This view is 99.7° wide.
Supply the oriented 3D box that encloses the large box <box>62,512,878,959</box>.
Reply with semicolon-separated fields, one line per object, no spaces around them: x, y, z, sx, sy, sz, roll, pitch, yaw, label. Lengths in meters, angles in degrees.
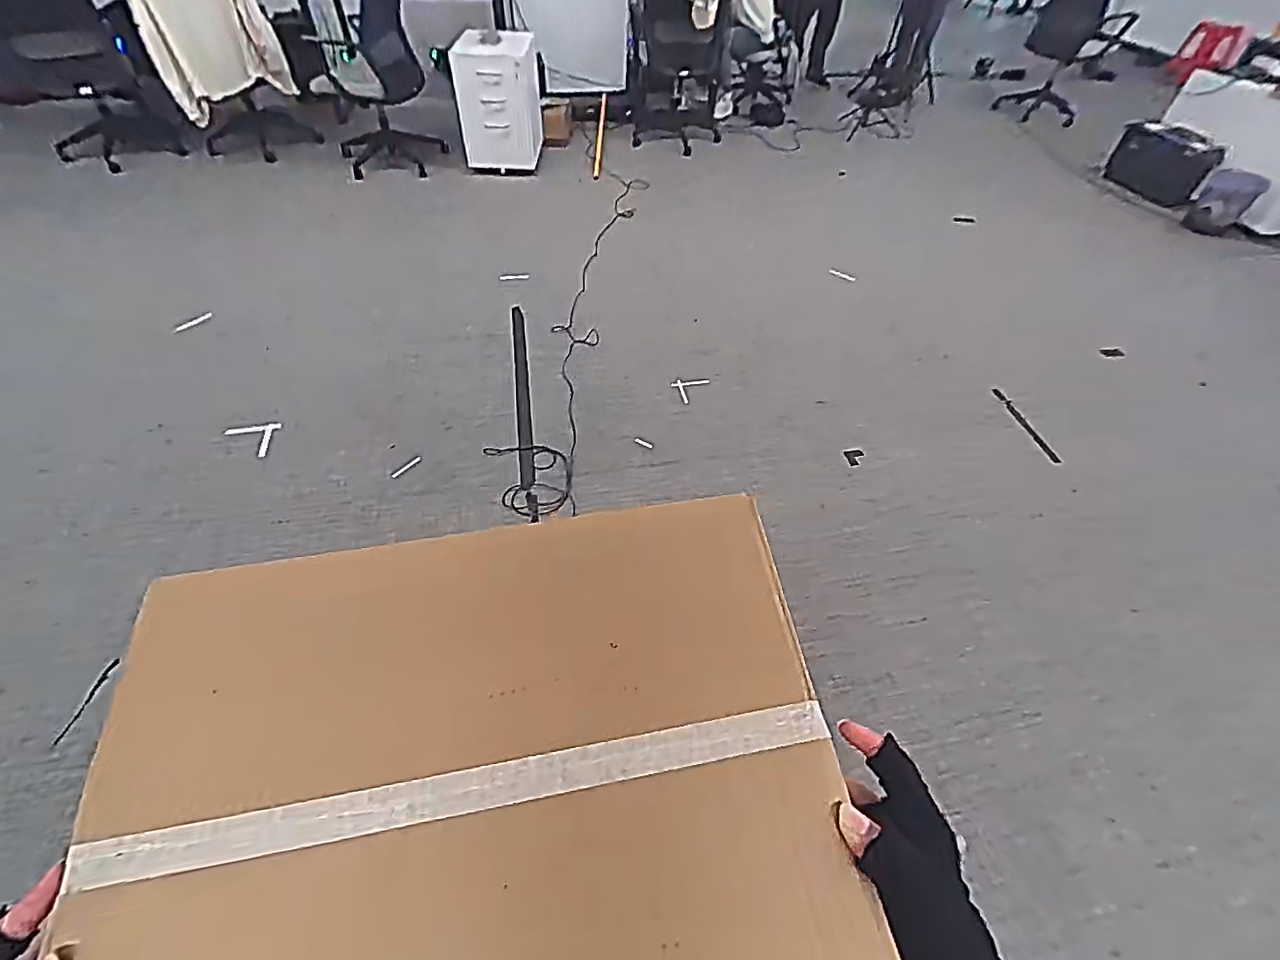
-0.095;0.257;0.433;0.408;0.320;0.320;-8;59;-6;large box
